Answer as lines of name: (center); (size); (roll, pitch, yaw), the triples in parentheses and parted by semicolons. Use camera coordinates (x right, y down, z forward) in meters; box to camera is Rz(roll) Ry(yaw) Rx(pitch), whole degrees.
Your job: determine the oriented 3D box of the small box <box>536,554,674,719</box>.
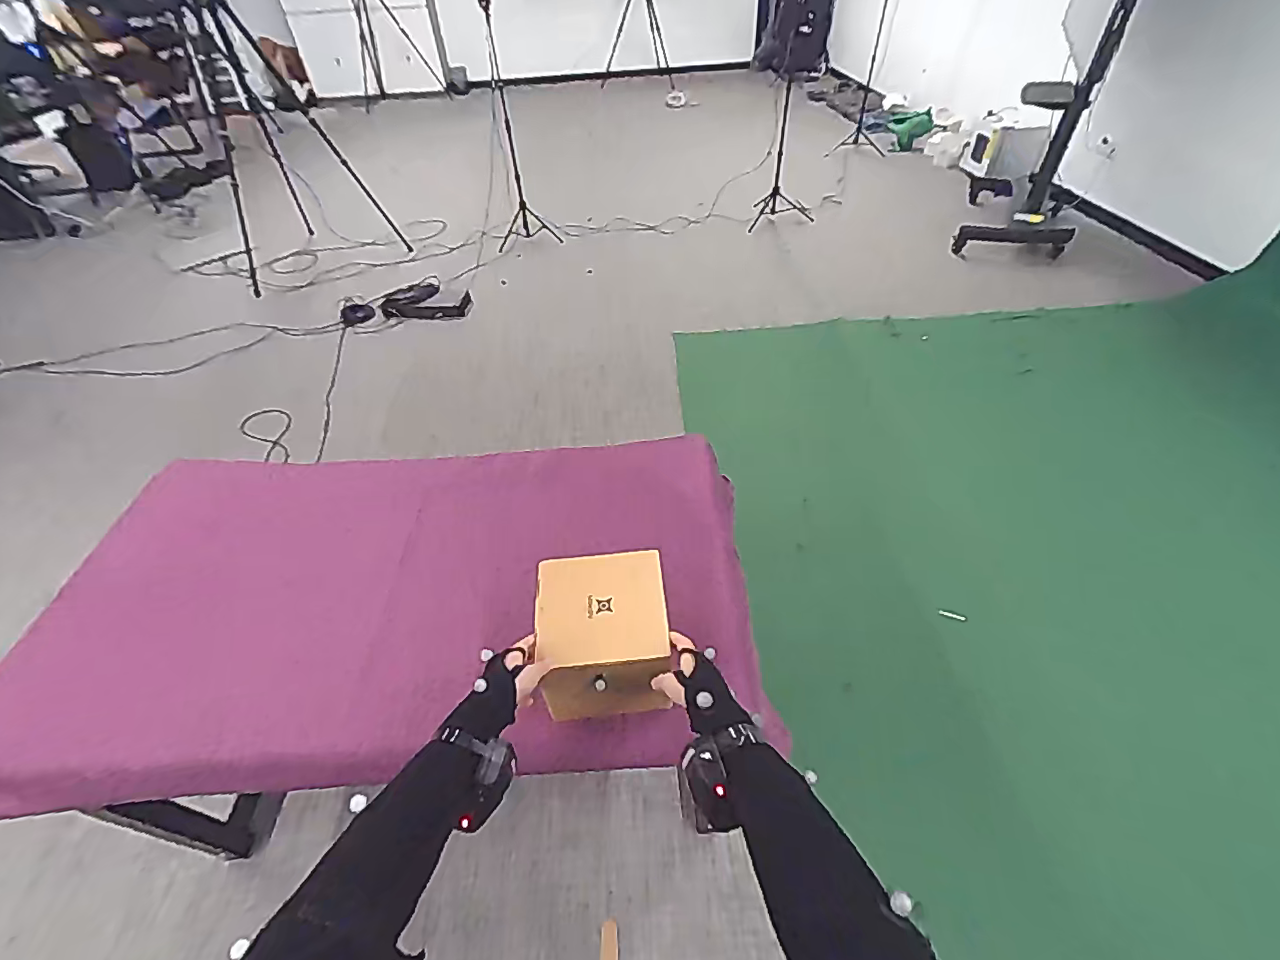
small box: (-0.044, 0.229, 0.784); (0.179, 0.176, 0.168); (-7, 47, 0)
